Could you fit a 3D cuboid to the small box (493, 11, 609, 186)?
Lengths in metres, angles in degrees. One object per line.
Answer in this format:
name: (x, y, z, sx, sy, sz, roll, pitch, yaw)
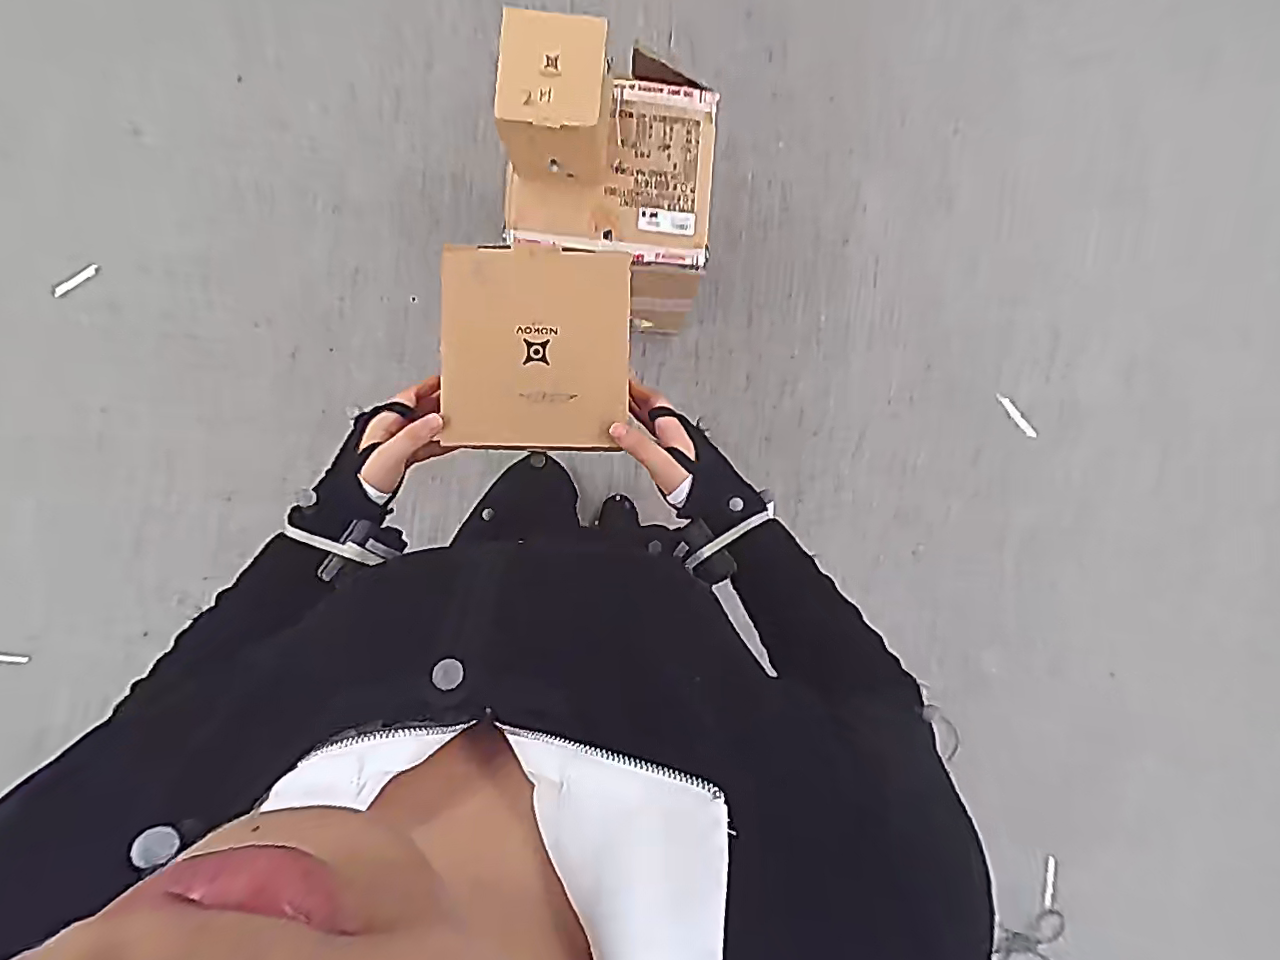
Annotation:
small box: (-0.144, -0.644, 0.931, 0.168, 0.176, 0.179, 6, 91, -1)
